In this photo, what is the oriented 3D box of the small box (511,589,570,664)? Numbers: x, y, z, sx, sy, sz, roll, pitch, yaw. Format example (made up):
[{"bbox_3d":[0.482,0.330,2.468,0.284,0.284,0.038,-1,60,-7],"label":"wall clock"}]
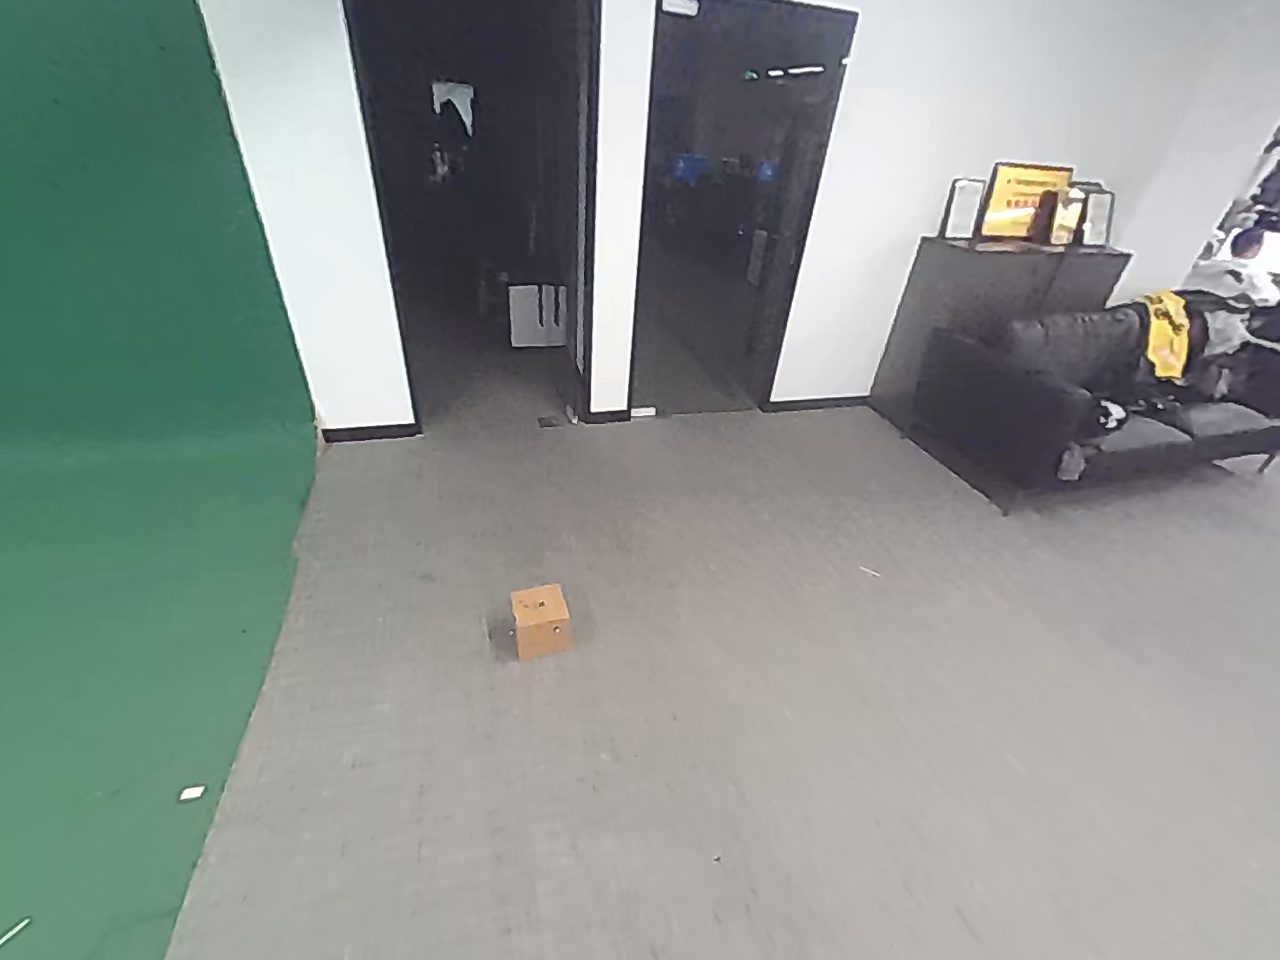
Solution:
[{"bbox_3d":[-0.344,0.503,1.858,0.179,0.176,0.168,-8,35,-19],"label":"small box"}]
